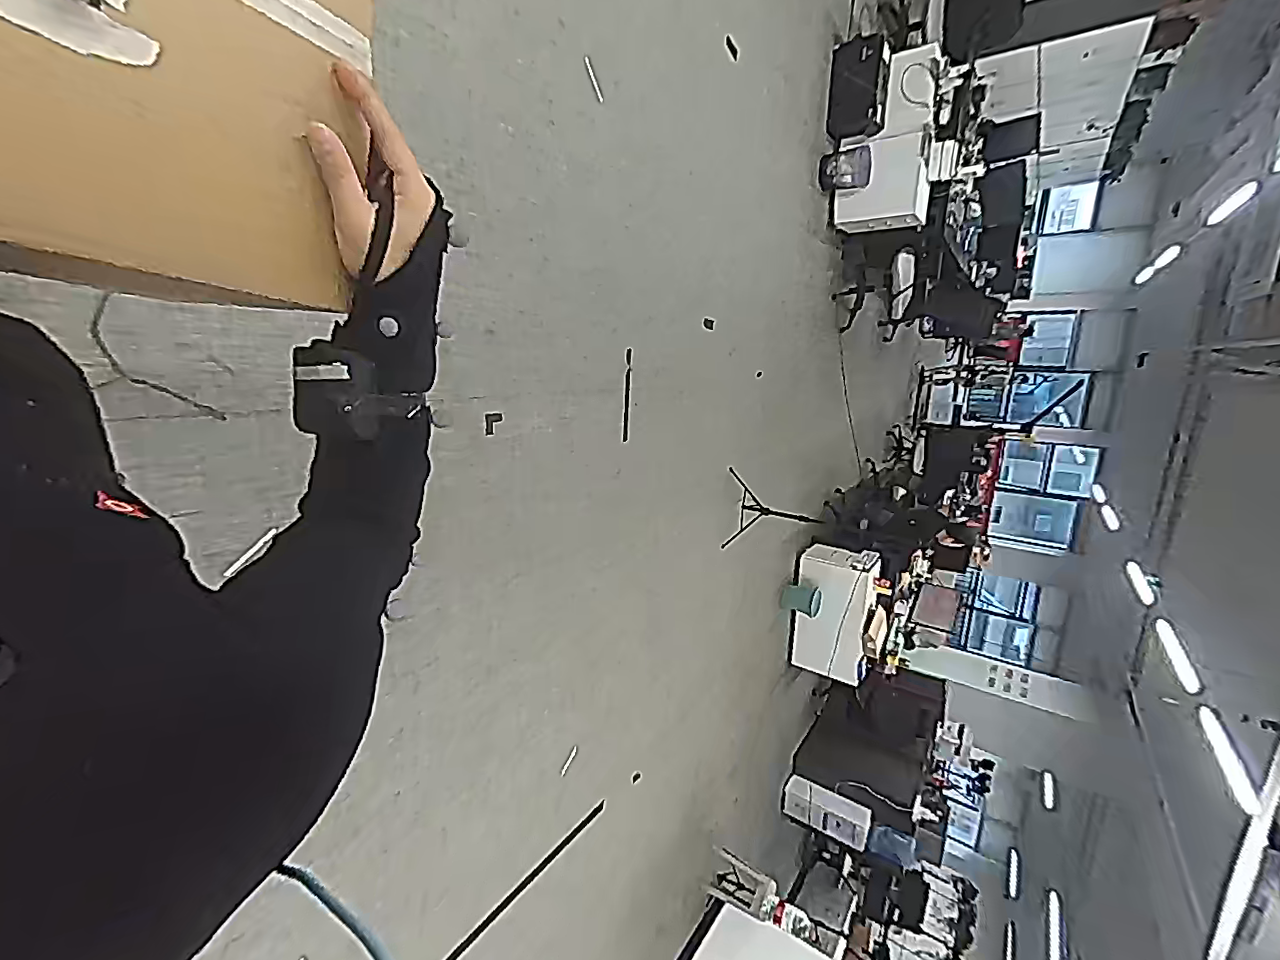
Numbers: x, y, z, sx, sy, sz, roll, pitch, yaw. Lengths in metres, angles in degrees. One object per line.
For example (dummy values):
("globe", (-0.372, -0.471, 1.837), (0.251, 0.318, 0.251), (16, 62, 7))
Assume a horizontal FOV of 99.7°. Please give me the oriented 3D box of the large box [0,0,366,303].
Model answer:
("large box", (-0.416, -0.286, 0.267), (0.408, 0.320, 0.320), (-6, 108, -57))
